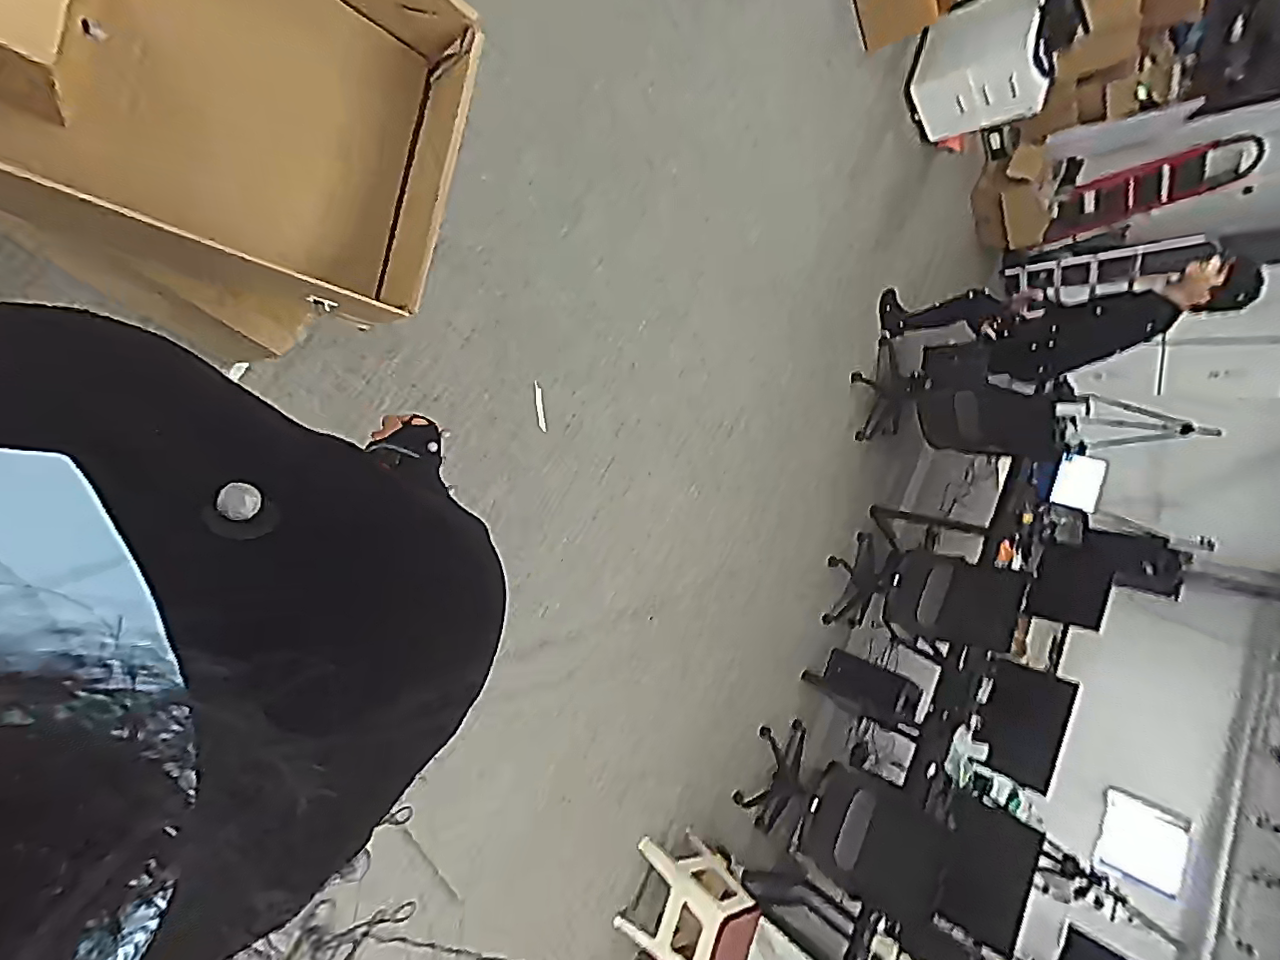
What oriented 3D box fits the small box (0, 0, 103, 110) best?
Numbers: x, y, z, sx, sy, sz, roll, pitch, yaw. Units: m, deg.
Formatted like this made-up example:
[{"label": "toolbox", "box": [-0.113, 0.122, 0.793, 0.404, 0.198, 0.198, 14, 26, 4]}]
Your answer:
[{"label": "small box", "box": [-0.580, -0.448, 0.447, 0.179, 0.176, 0.168, 15, 89, -44]}]
